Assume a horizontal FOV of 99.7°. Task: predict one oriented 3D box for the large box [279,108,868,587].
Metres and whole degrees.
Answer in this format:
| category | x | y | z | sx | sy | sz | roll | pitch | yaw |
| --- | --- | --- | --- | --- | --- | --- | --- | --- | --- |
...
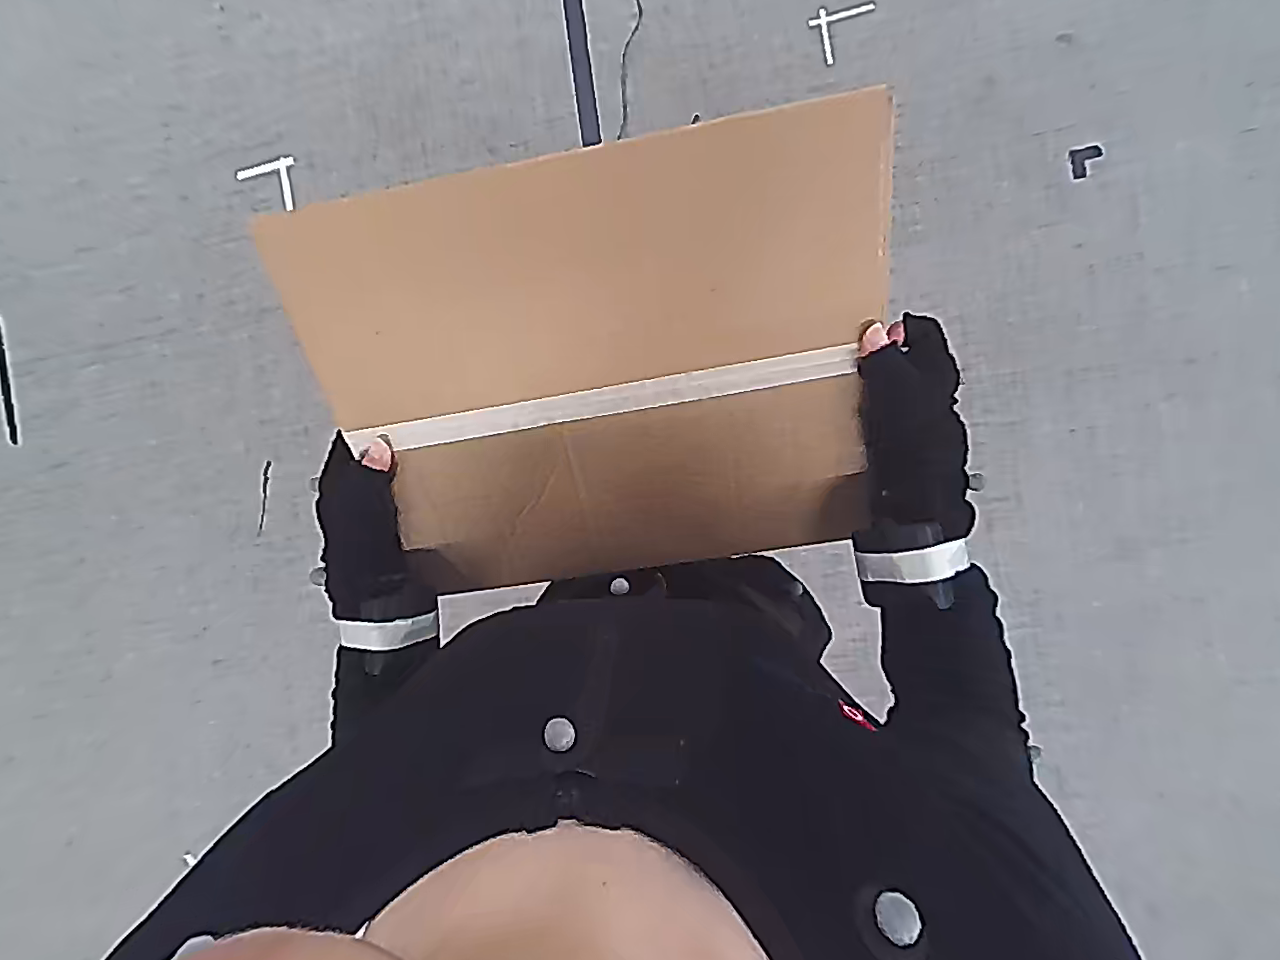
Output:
| category | x | y | z | sx | sy | sz | roll | pitch | yaw |
| --- | --- | --- | --- | --- | --- | --- | --- | --- | --- |
| large box | -0.023 | -0.134 | 0.548 | 0.408 | 0.320 | 0.320 | -9 | 117 | 6 |
